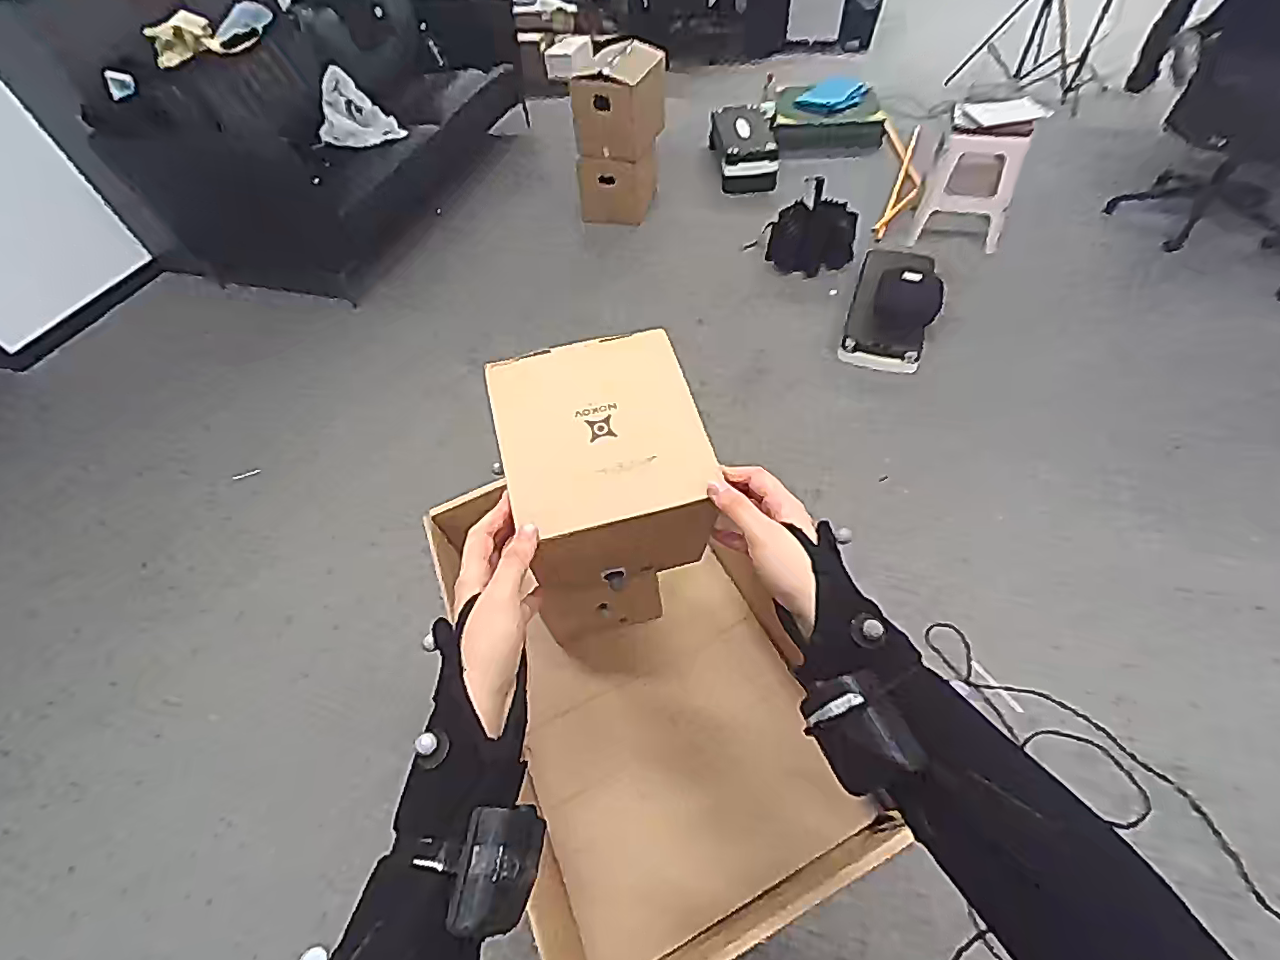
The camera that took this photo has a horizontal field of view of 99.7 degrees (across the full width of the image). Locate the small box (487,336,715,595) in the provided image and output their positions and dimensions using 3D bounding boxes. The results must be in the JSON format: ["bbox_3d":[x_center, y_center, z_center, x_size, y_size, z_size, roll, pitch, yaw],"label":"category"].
[{"bbox_3d":[-0.041,-0.008,0.532,0.168,0.176,0.179,-14,64,-8],"label":"small box"}]
